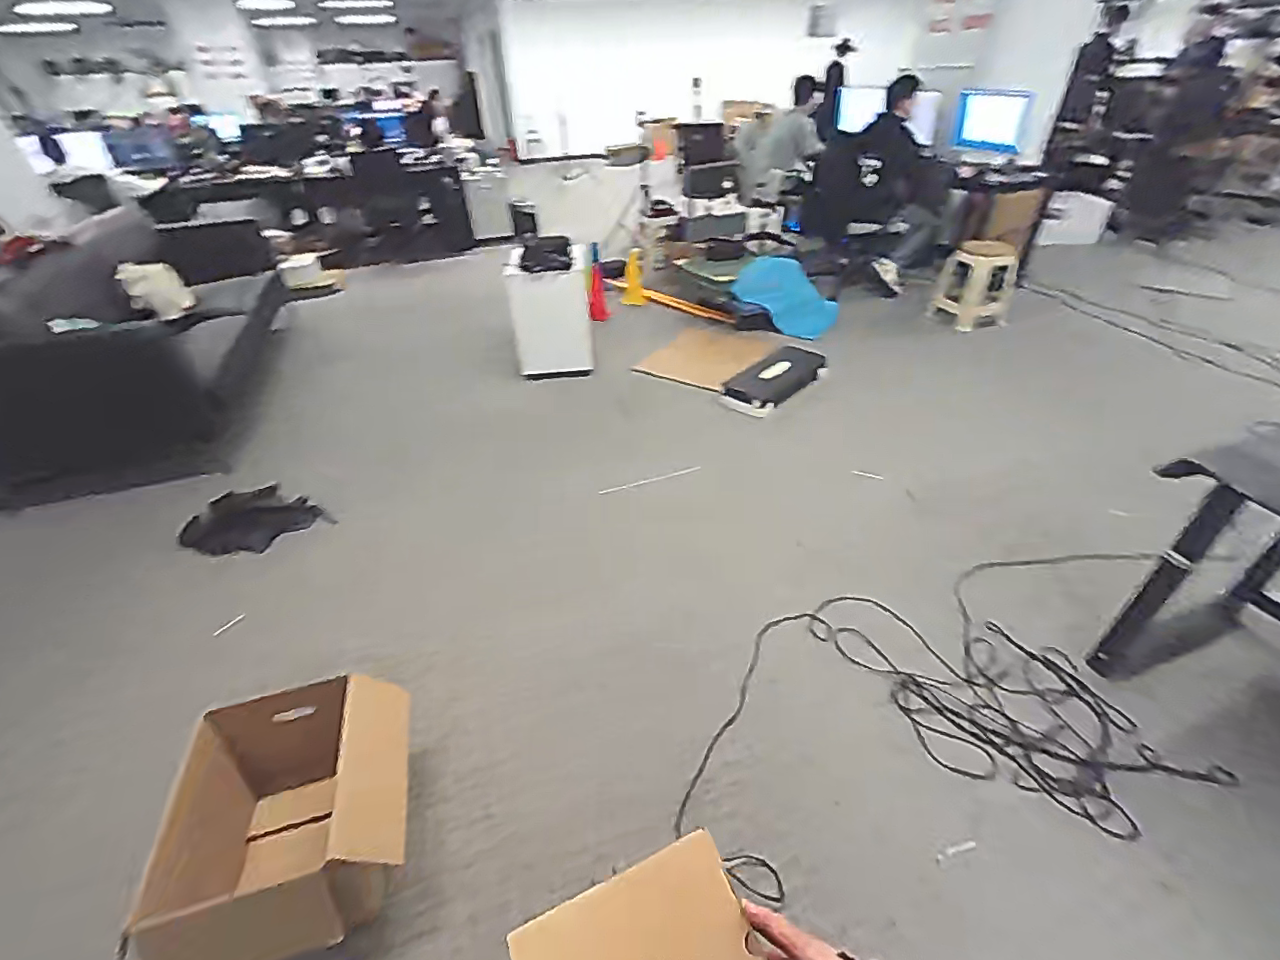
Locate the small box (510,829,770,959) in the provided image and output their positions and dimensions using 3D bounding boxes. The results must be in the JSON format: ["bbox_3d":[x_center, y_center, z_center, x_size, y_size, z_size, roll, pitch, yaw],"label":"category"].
[{"bbox_3d":[0.018,0.420,0.423,0.179,0.176,0.168,-19,44,-12],"label":"small box"}]
